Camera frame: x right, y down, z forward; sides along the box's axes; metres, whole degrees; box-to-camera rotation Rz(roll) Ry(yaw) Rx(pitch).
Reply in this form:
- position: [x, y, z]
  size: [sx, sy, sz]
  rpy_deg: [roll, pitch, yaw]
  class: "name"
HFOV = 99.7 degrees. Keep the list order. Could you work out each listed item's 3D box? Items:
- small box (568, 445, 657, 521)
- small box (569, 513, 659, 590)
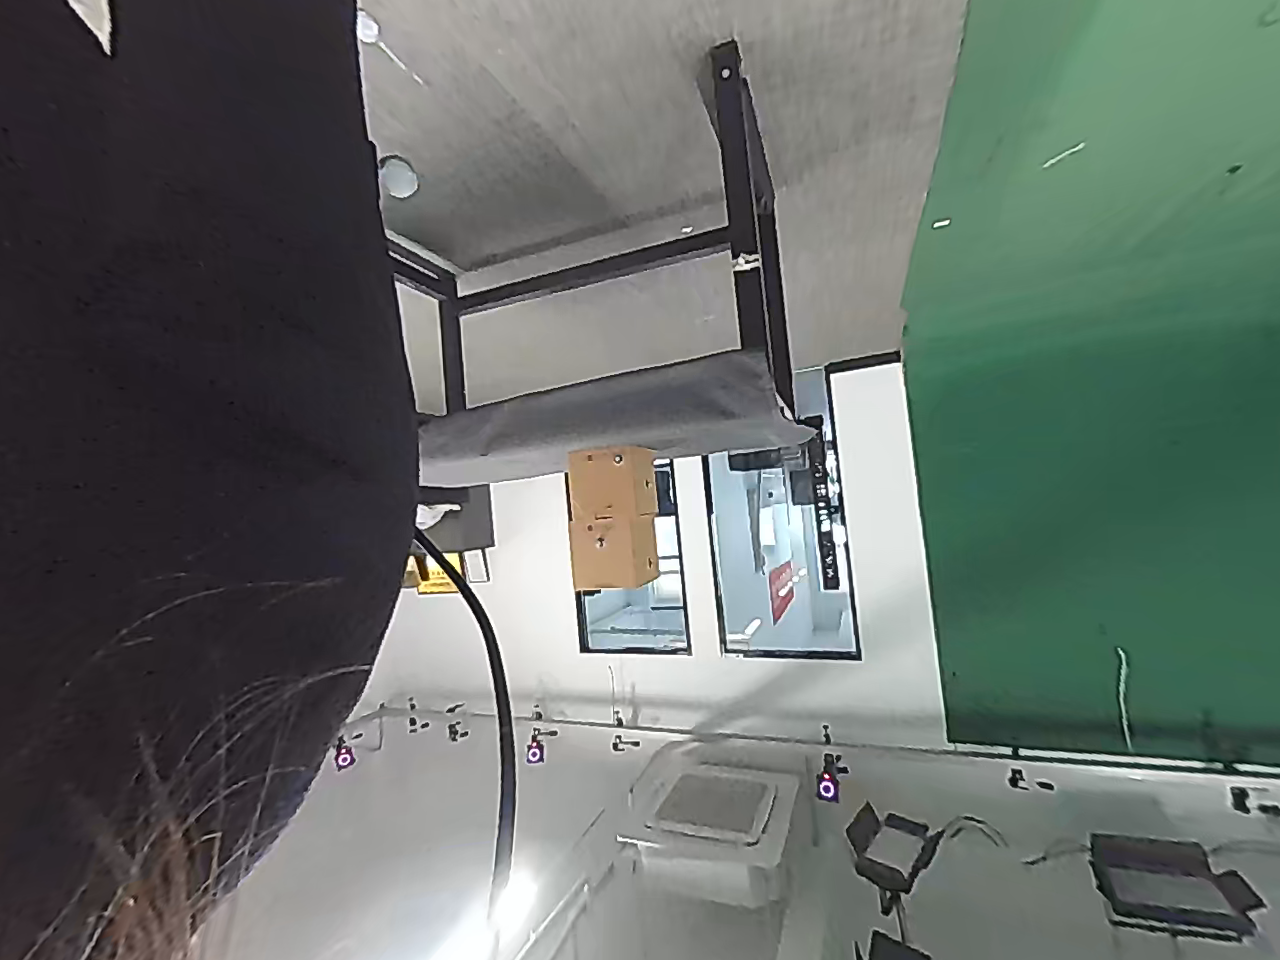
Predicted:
- position: [-0.066, 0.006, 1.336]
  size: [0.168, 0.176, 0.179]
  rpy_deg: [-6, 178, 18]
  class: "small box"
- position: [-0.062, 0.171, 1.342]
  size: [0.168, 0.176, 0.179]
  rpy_deg: [-7, 177, 21]
  class: "small box"
